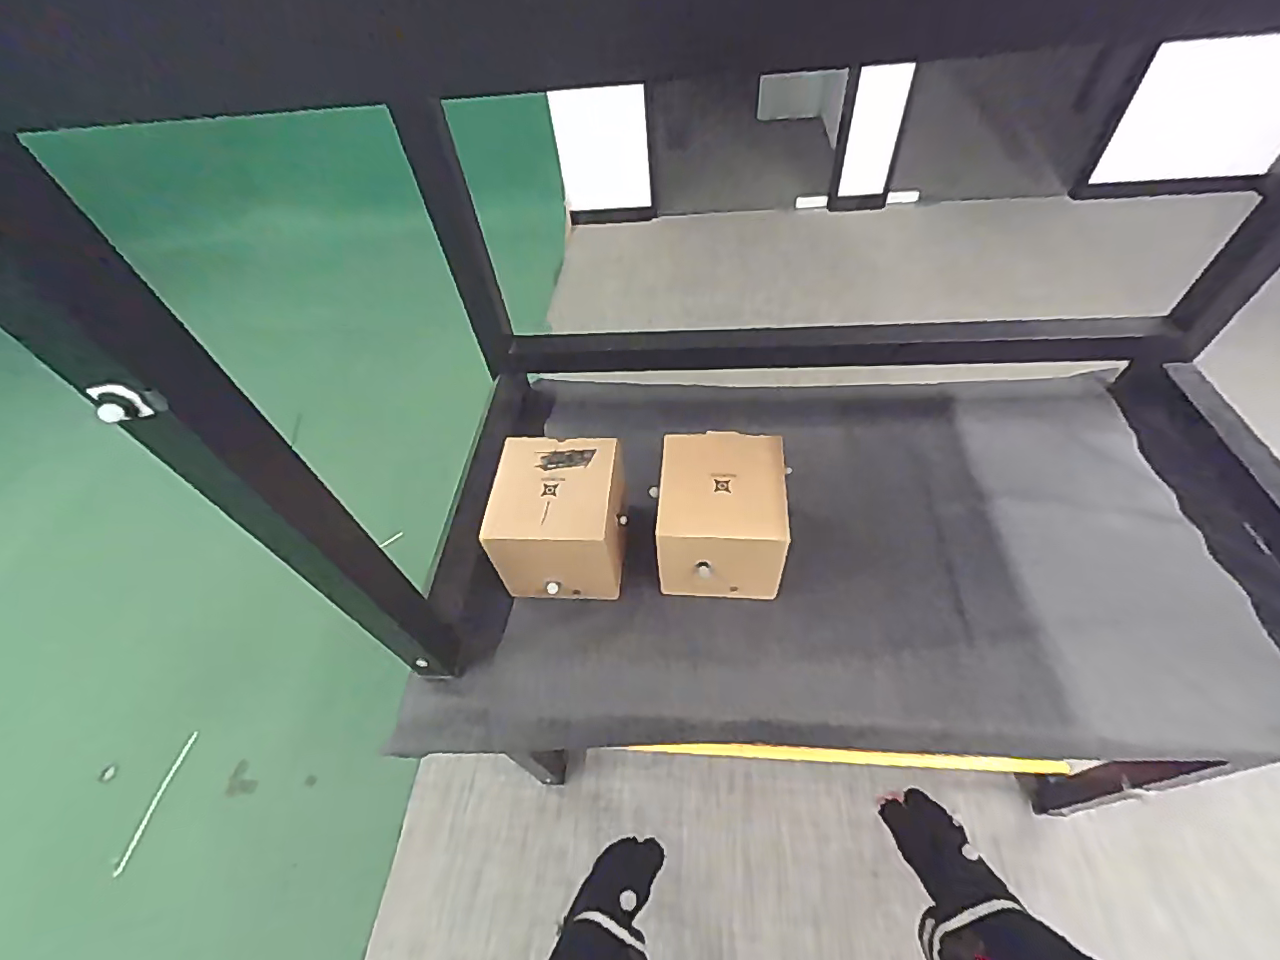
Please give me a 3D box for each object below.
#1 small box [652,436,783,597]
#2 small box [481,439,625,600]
[{"bbox_3d":[0.112,0.056,0.786,0.168,0.176,0.179,1,51,7],"label":"small box"},{"bbox_3d":[-0.115,0.059,0.804,0.168,0.176,0.179,0,52,6],"label":"small box"}]
